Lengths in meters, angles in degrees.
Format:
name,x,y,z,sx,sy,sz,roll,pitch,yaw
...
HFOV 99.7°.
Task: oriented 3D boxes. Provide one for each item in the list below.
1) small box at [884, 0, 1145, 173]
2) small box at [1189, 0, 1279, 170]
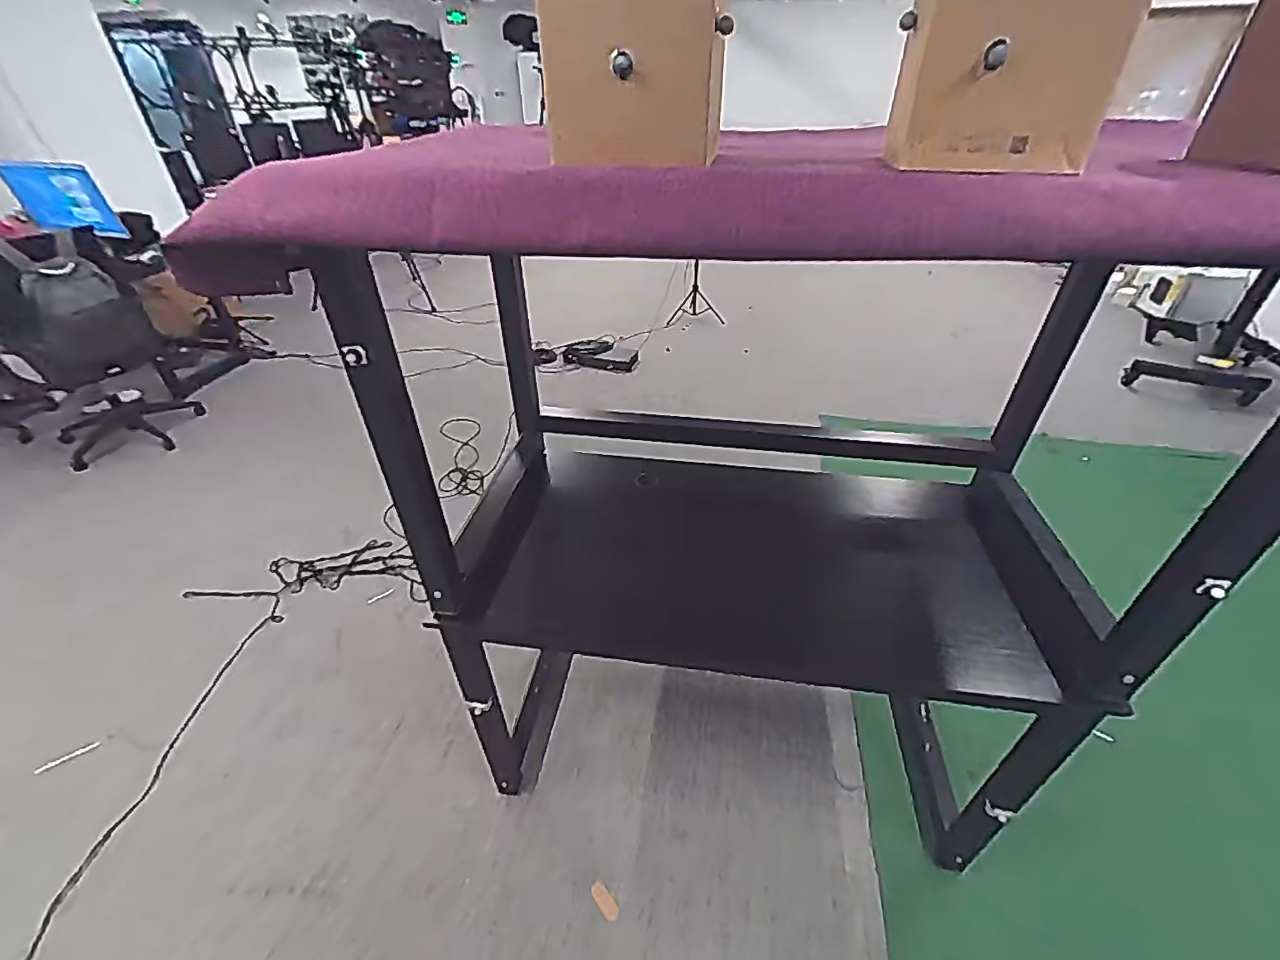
name,x,y,z,sx,sy,sz,roll,pitch,yaw
small box,0.358,-0.412,0.543,0.168,0.176,0.179,9,35,12
small box,0.697,-0.386,0.503,0.168,0.176,0.179,4,34,6
